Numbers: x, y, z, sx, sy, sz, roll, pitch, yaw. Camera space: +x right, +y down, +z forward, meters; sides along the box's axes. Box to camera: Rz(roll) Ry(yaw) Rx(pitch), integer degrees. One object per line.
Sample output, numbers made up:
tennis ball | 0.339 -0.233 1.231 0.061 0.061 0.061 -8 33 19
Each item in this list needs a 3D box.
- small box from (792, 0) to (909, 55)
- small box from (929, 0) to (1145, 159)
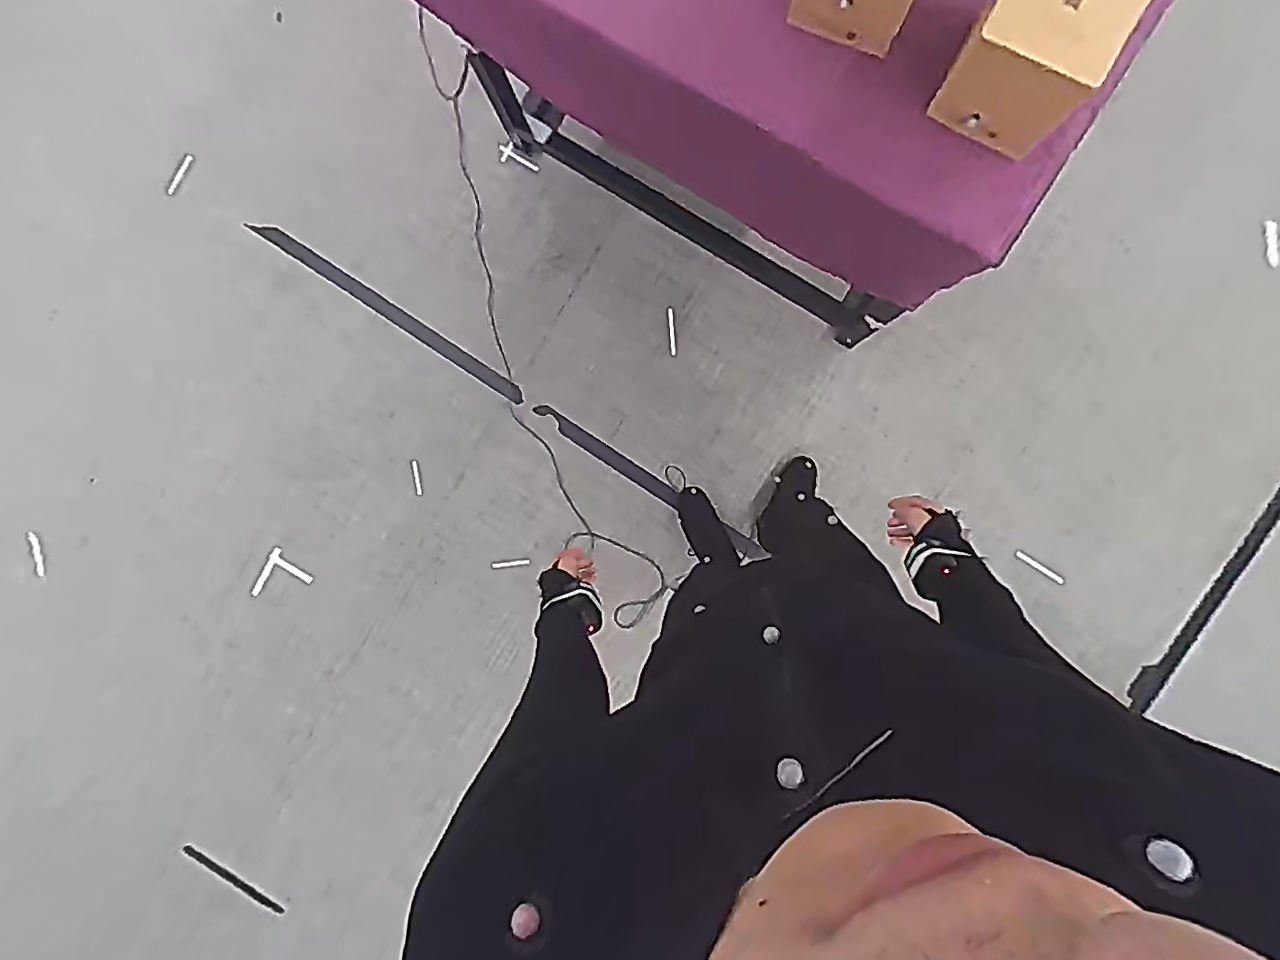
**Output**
small box | 0.334 -0.774 0.778 0.168 0.176 0.179 23 93 3
small box | 0.552 -0.611 0.768 0.168 0.176 0.179 29 93 4
